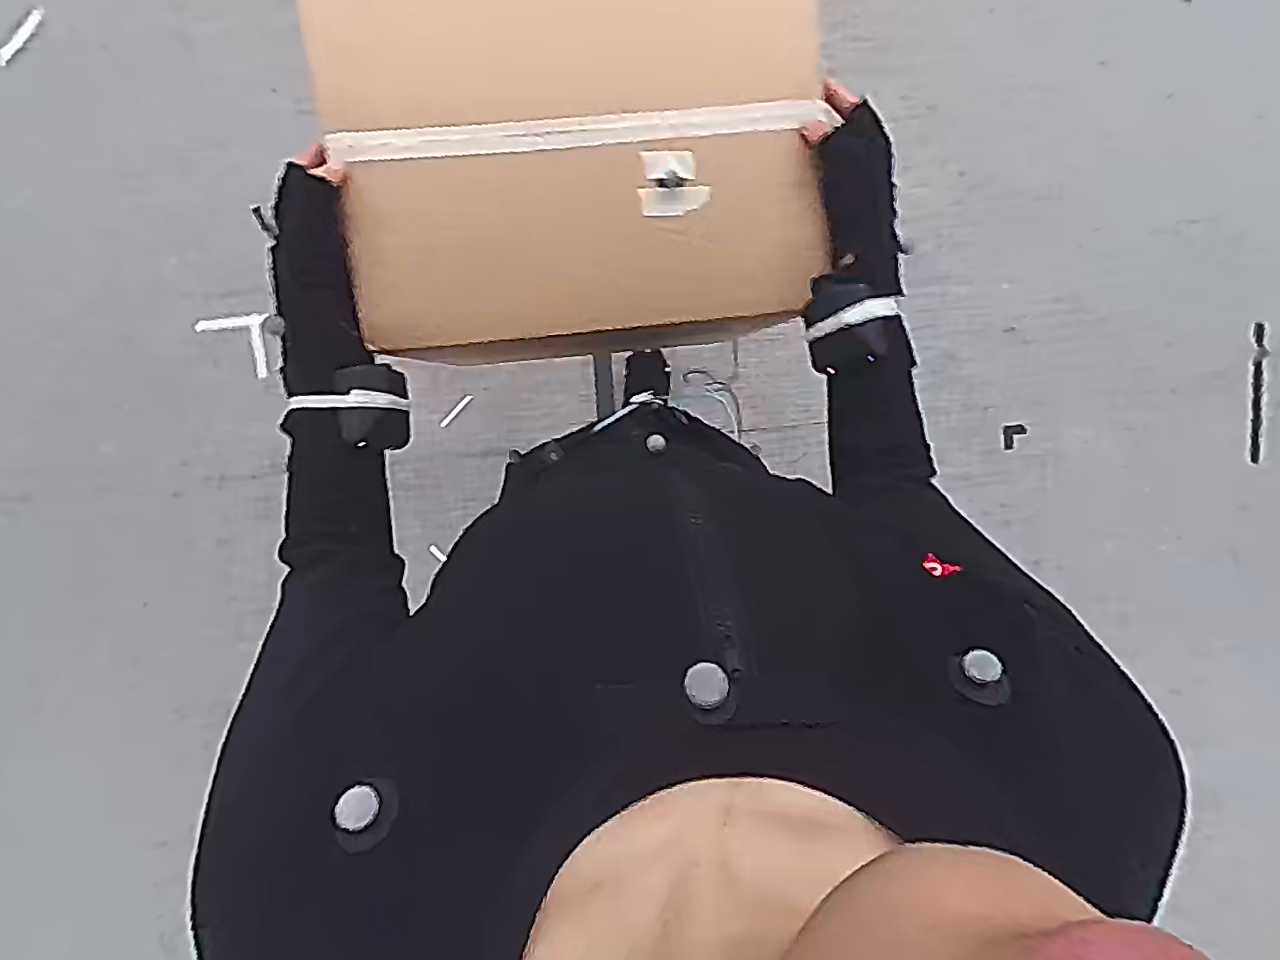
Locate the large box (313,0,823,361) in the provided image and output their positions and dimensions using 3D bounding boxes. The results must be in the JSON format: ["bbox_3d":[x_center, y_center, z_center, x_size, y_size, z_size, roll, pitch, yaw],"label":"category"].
[{"bbox_3d":[-0.063,-0.317,0.597,0.408,0.320,0.320,-7,101,-6],"label":"large box"}]
